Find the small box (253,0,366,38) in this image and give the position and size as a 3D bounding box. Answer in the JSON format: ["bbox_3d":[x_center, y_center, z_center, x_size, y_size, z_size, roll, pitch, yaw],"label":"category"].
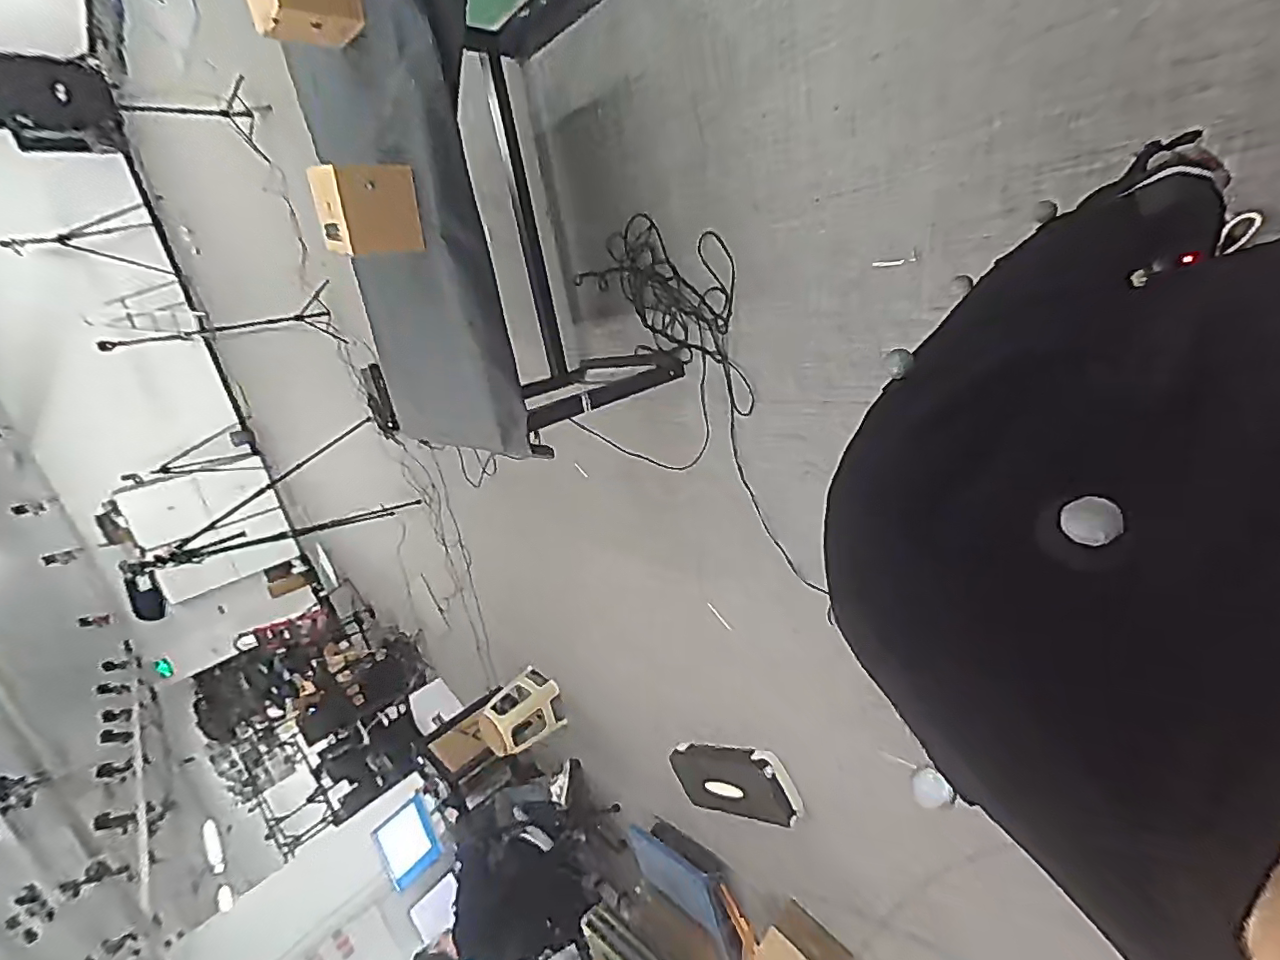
[{"bbox_3d":[-0.680,-1.026,1.089,0.168,0.176,0.179,16,121,42],"label":"small box"}]
